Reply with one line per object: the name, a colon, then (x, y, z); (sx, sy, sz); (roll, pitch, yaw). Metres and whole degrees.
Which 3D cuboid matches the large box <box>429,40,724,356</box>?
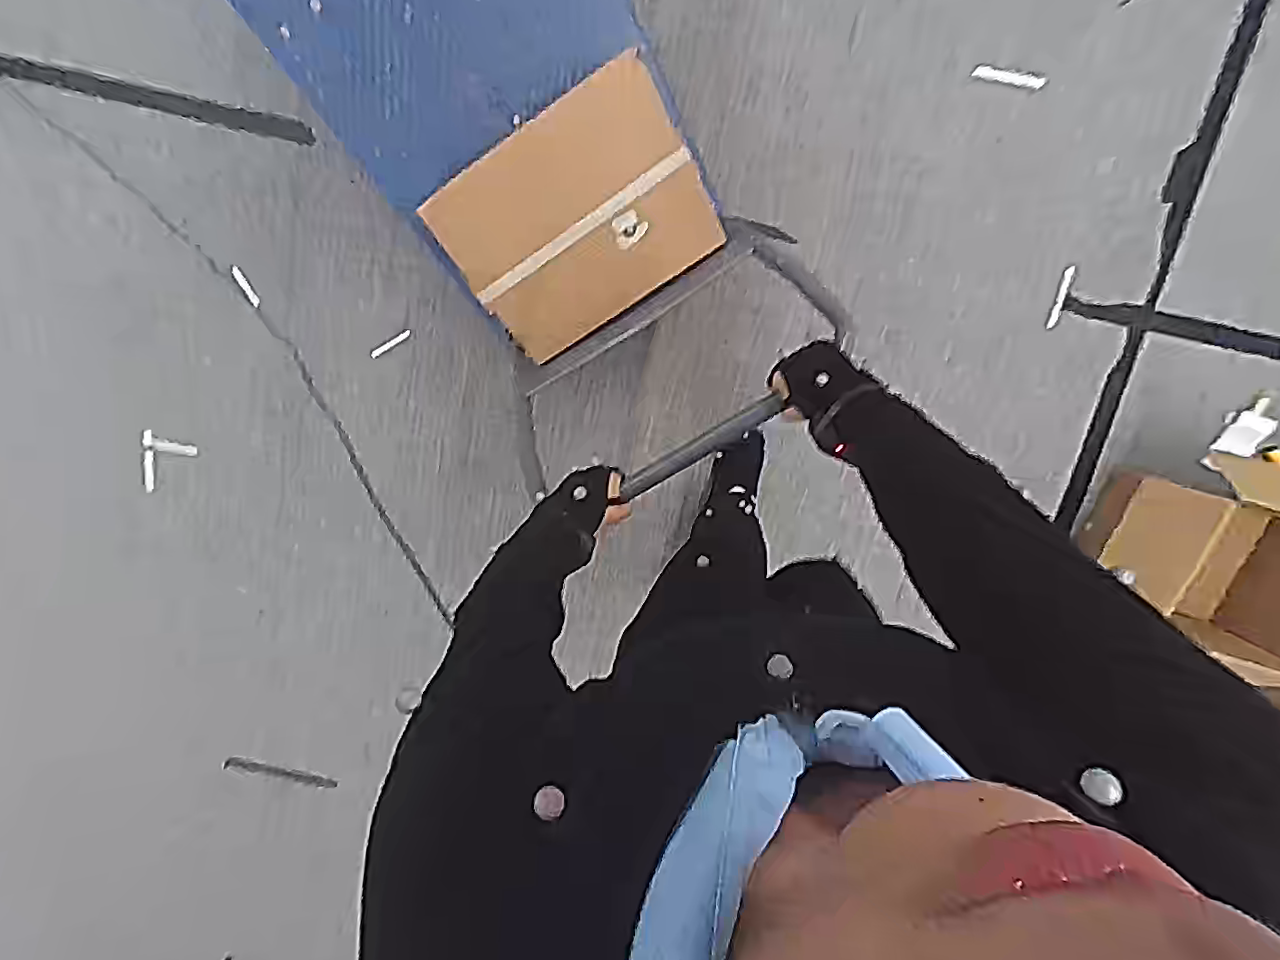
large box: (-0.120, -0.512, 1.017); (0.408, 0.320, 0.320); (-32, 125, 10)
